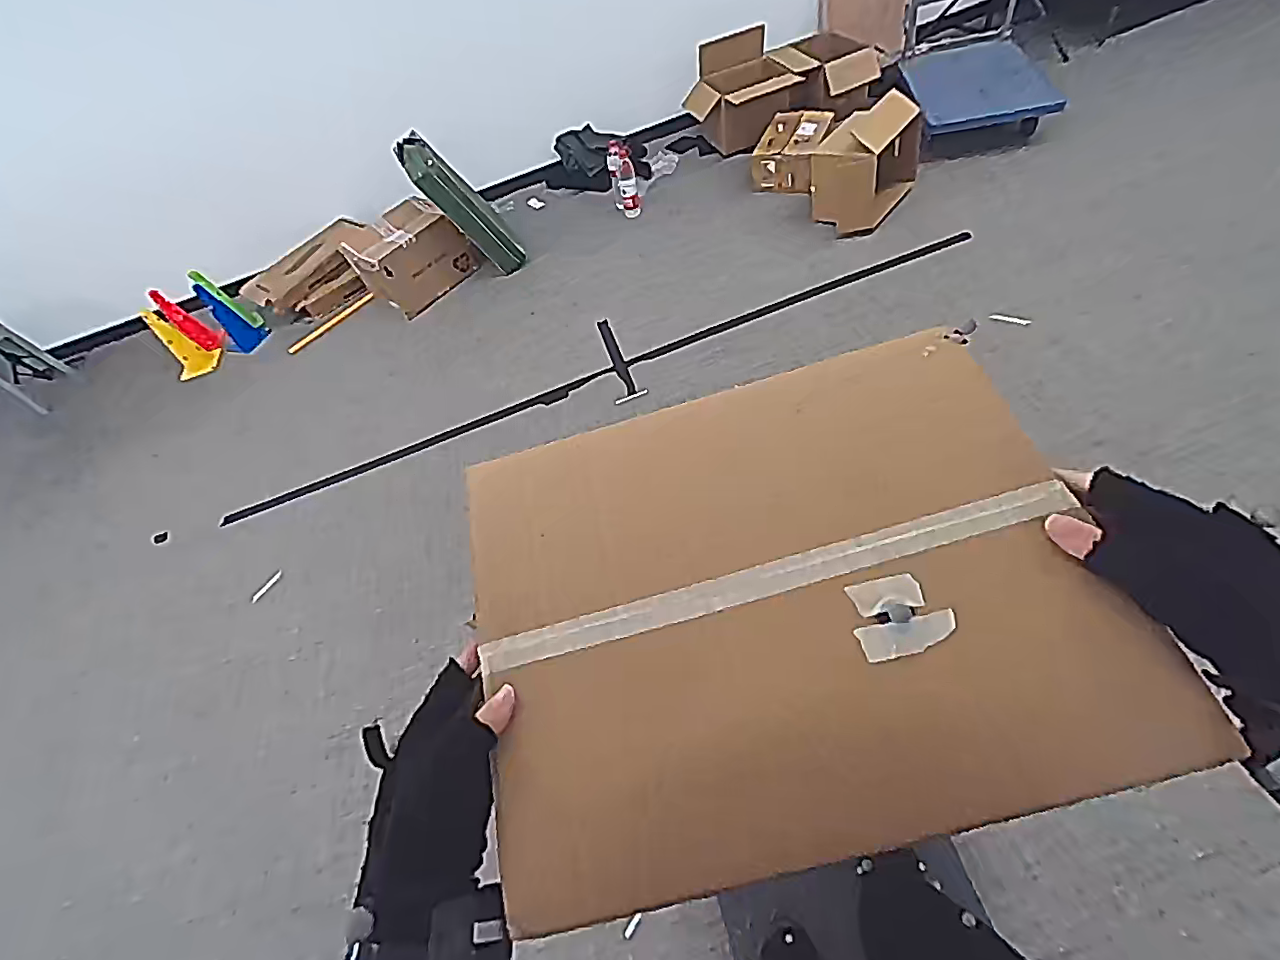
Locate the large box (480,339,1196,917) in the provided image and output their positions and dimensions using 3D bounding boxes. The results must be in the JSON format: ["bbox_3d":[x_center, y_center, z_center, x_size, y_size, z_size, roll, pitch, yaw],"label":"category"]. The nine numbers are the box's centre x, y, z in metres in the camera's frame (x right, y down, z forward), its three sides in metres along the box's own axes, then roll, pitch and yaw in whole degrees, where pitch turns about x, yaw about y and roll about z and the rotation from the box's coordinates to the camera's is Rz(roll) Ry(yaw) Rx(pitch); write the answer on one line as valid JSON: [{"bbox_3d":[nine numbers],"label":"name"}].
[{"bbox_3d":[0.112,0.136,0.508,0.408,0.320,0.320,-16,62,2],"label":"large box"}]
